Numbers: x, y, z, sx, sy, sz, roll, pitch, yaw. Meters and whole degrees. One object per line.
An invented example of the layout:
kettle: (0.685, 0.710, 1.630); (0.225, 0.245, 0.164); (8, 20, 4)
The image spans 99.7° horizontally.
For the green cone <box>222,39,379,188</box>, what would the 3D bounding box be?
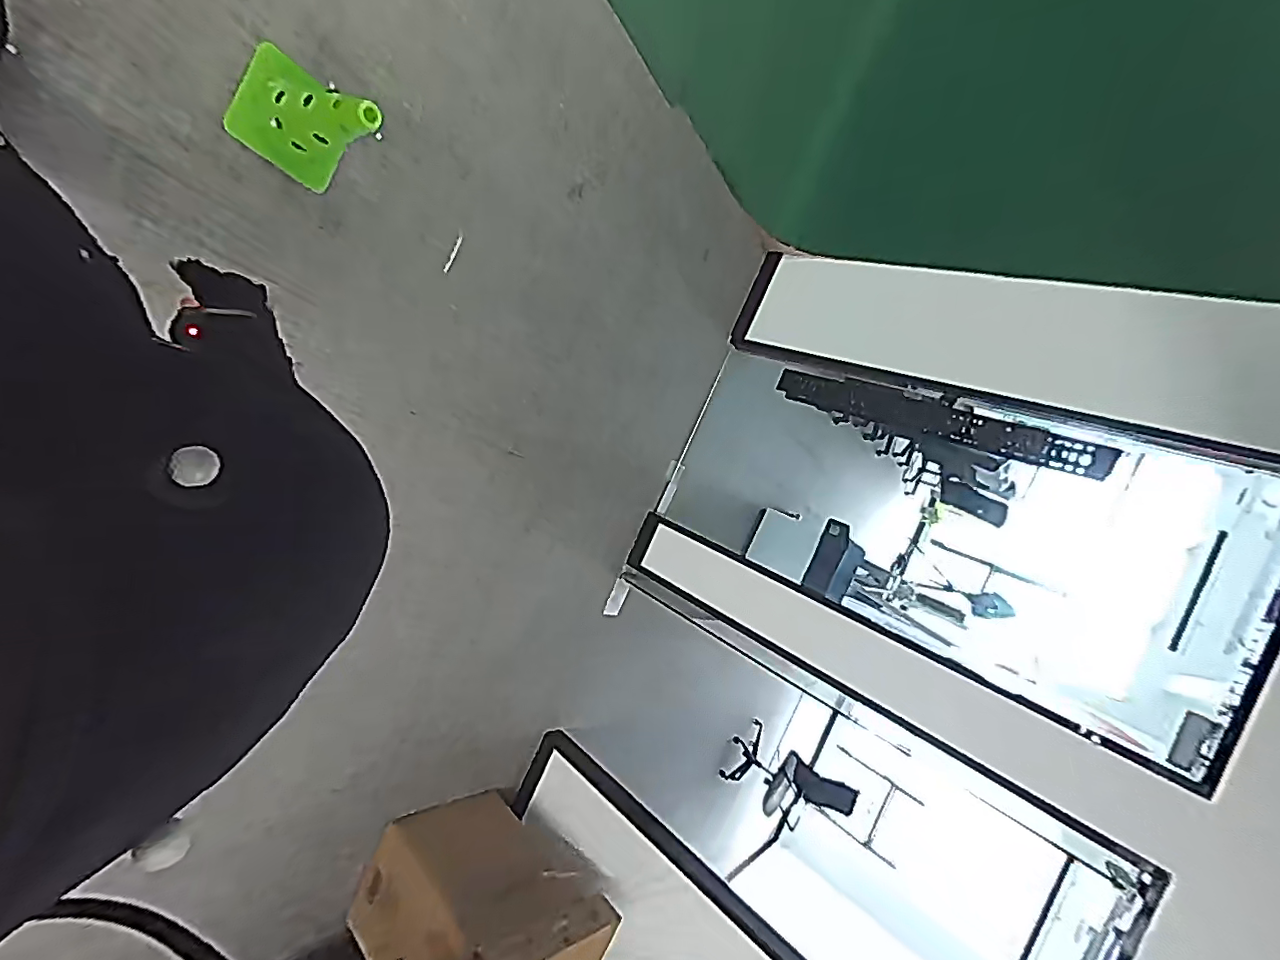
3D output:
green cone: (-0.599, -0.693, 1.027); (0.200, 0.368, 0.202); (24, 92, -55)
